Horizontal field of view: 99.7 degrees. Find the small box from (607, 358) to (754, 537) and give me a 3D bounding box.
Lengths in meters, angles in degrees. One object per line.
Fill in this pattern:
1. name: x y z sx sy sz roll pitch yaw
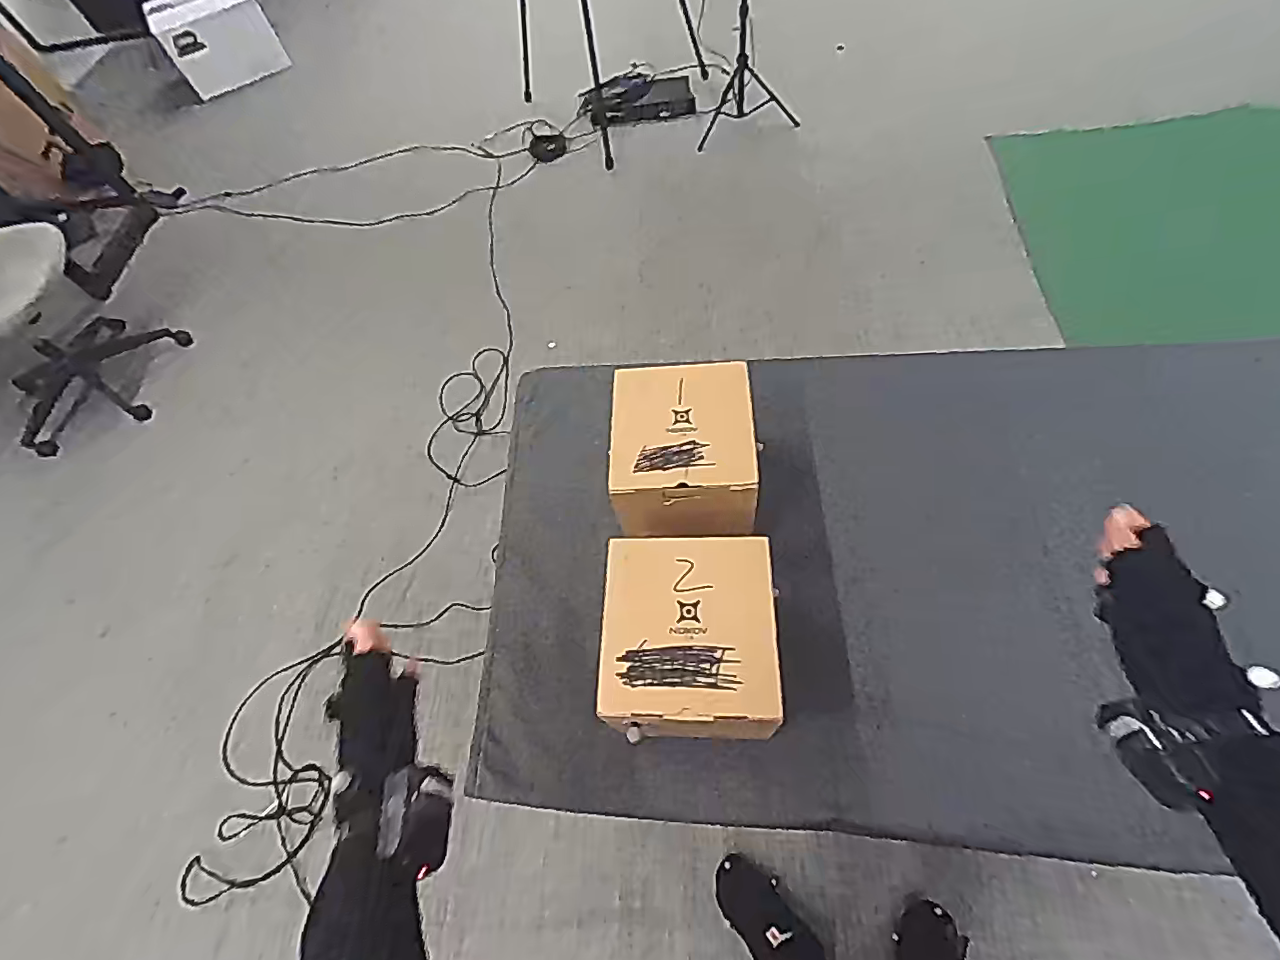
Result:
1. small box: 0.057 -0.032 0.699 0.168 0.176 0.179 -3 61 7
